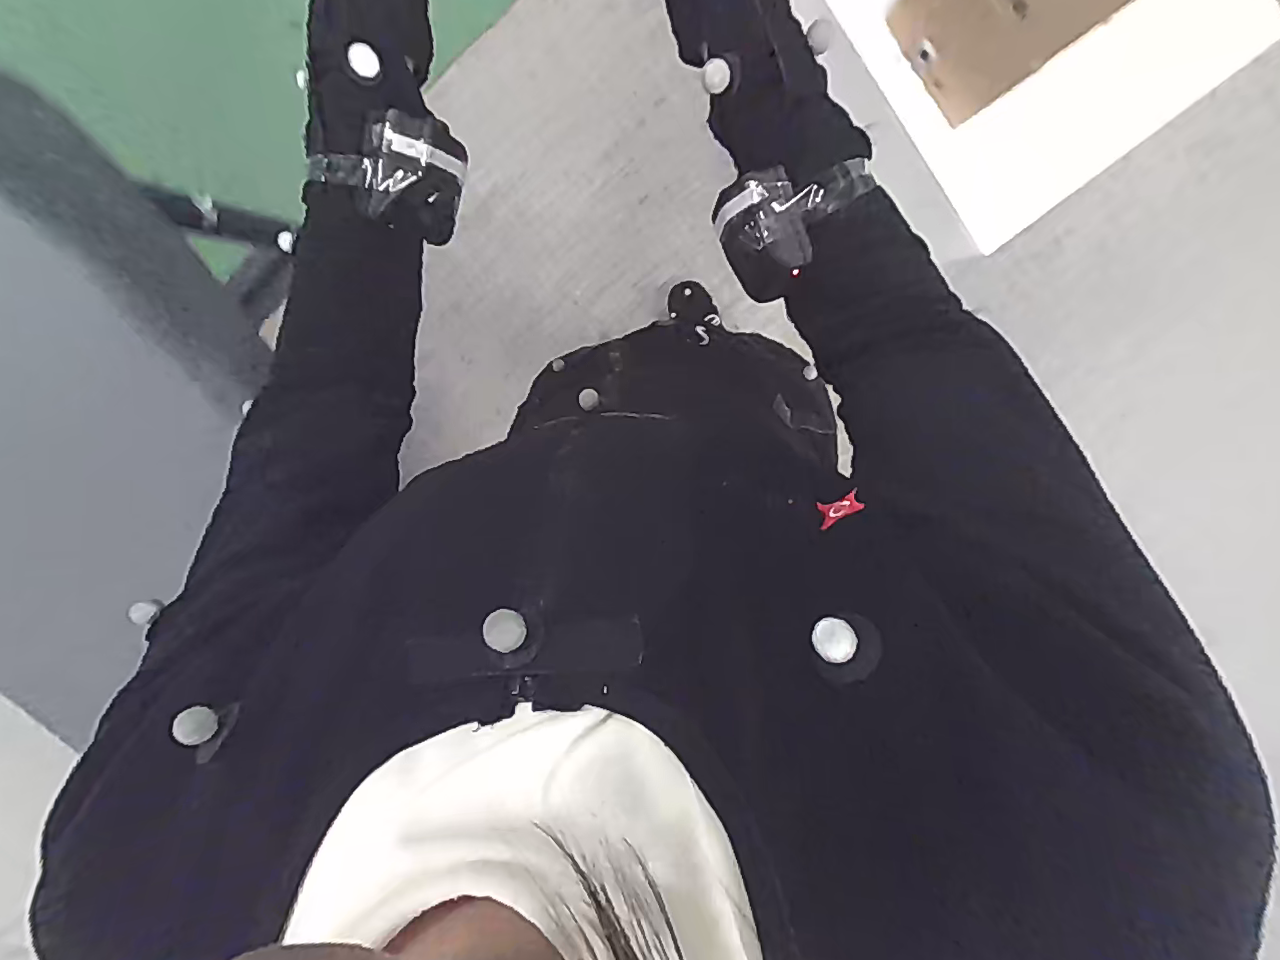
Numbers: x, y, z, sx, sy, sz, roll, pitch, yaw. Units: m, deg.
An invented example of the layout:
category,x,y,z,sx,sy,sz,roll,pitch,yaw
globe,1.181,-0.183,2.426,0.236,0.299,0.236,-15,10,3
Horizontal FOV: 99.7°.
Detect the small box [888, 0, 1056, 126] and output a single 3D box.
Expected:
category,x,y,z,sx,sy,sz,roll,pitch,yaw
small box,0.402,-0.525,0.566,0.179,0.176,0.168,-40,99,14
